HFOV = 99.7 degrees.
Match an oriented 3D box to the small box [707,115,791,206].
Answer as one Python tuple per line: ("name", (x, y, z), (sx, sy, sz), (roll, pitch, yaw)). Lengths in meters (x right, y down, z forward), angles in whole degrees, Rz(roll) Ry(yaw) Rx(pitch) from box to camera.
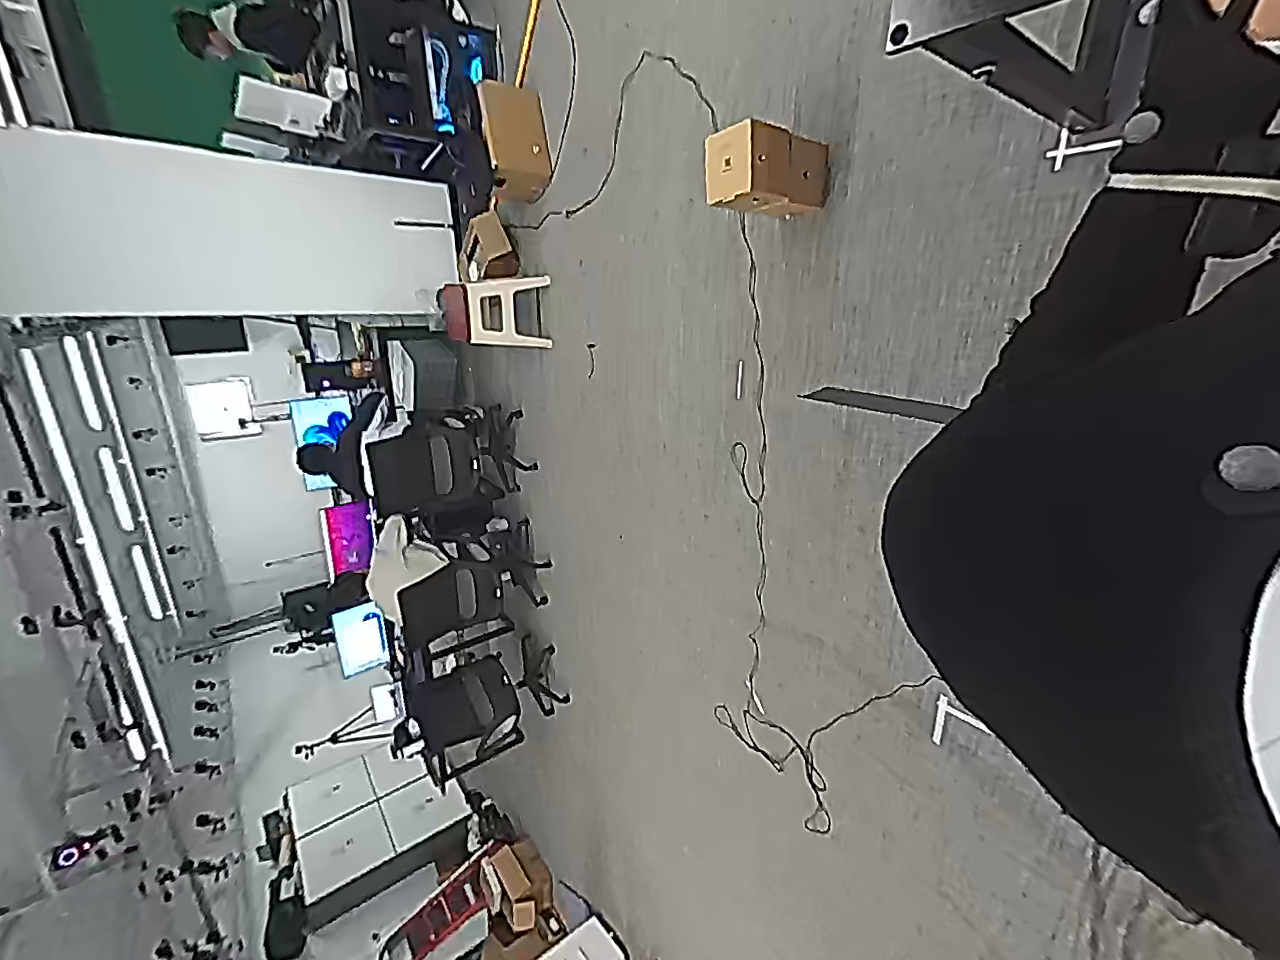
("small box", (0.305, -0.877, 1.506), (0.168, 0.176, 0.179), (13, 110, 50))

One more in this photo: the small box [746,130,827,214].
("small box", (0.435, -0.902, 1.601), (0.168, 0.176, 0.179), (18, 116, 50))
